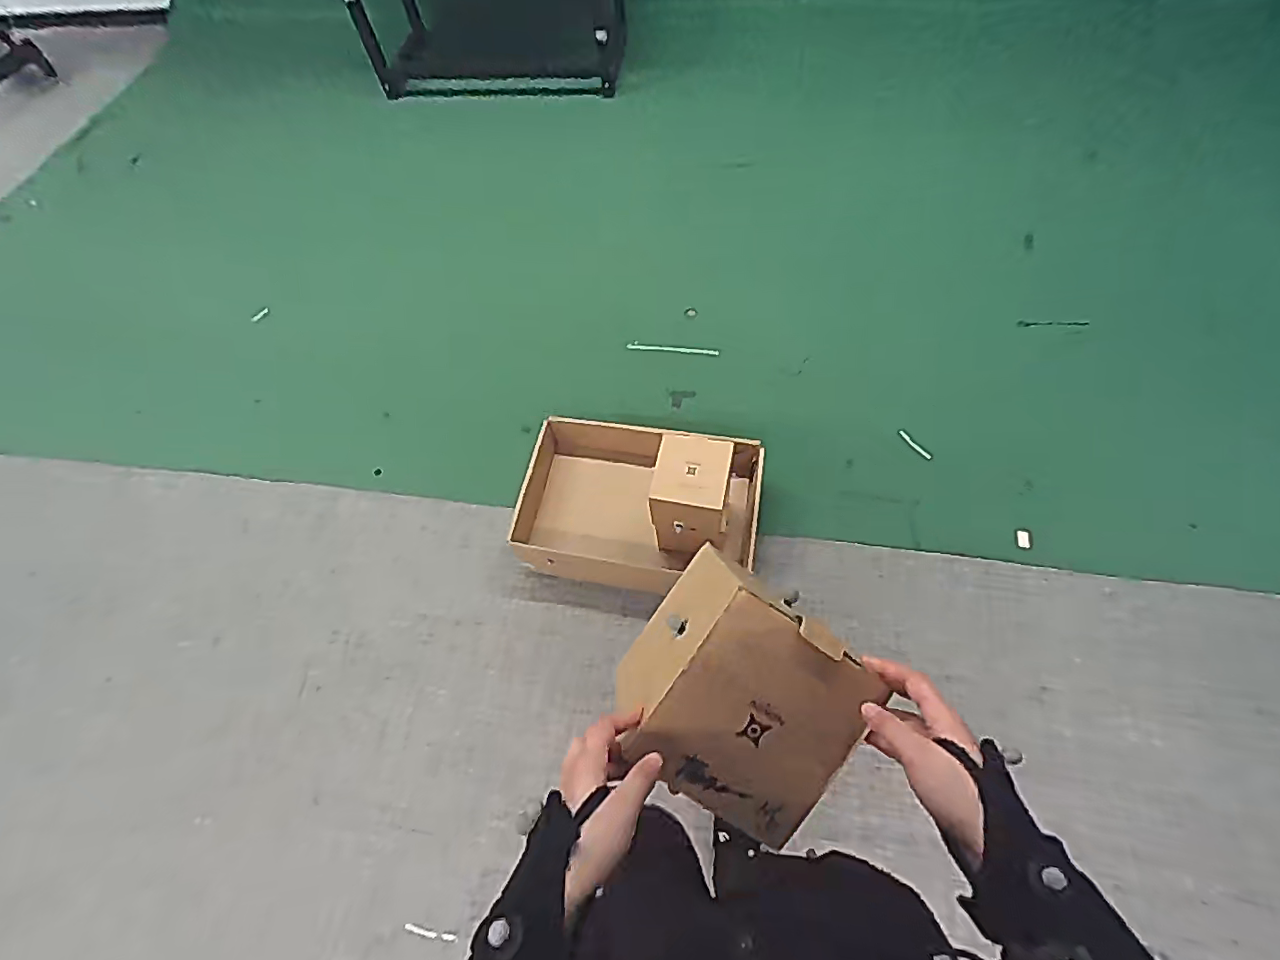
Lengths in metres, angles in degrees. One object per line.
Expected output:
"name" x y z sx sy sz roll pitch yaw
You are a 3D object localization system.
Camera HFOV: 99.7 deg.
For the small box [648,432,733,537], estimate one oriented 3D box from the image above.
"small box" 0.120 0.013 1.268 0.168 0.176 0.179 9 65 10
